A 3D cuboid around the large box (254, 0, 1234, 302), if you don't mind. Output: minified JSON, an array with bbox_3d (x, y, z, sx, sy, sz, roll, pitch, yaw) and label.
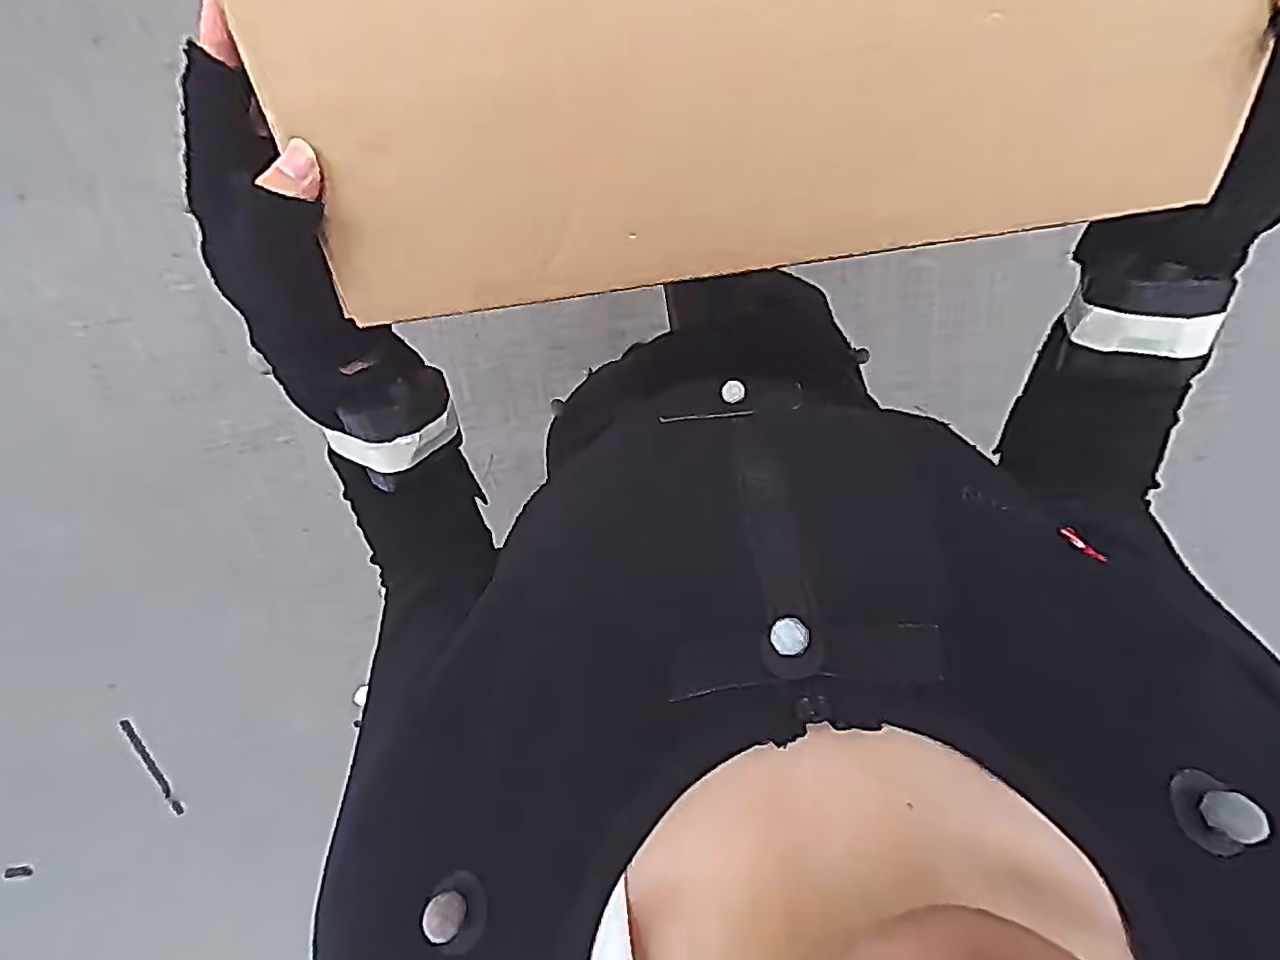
[{"bbox_3d":[0.031,-0.322,0.317,0.408,0.320,0.320,-8,121,2],"label":"large box"}]
